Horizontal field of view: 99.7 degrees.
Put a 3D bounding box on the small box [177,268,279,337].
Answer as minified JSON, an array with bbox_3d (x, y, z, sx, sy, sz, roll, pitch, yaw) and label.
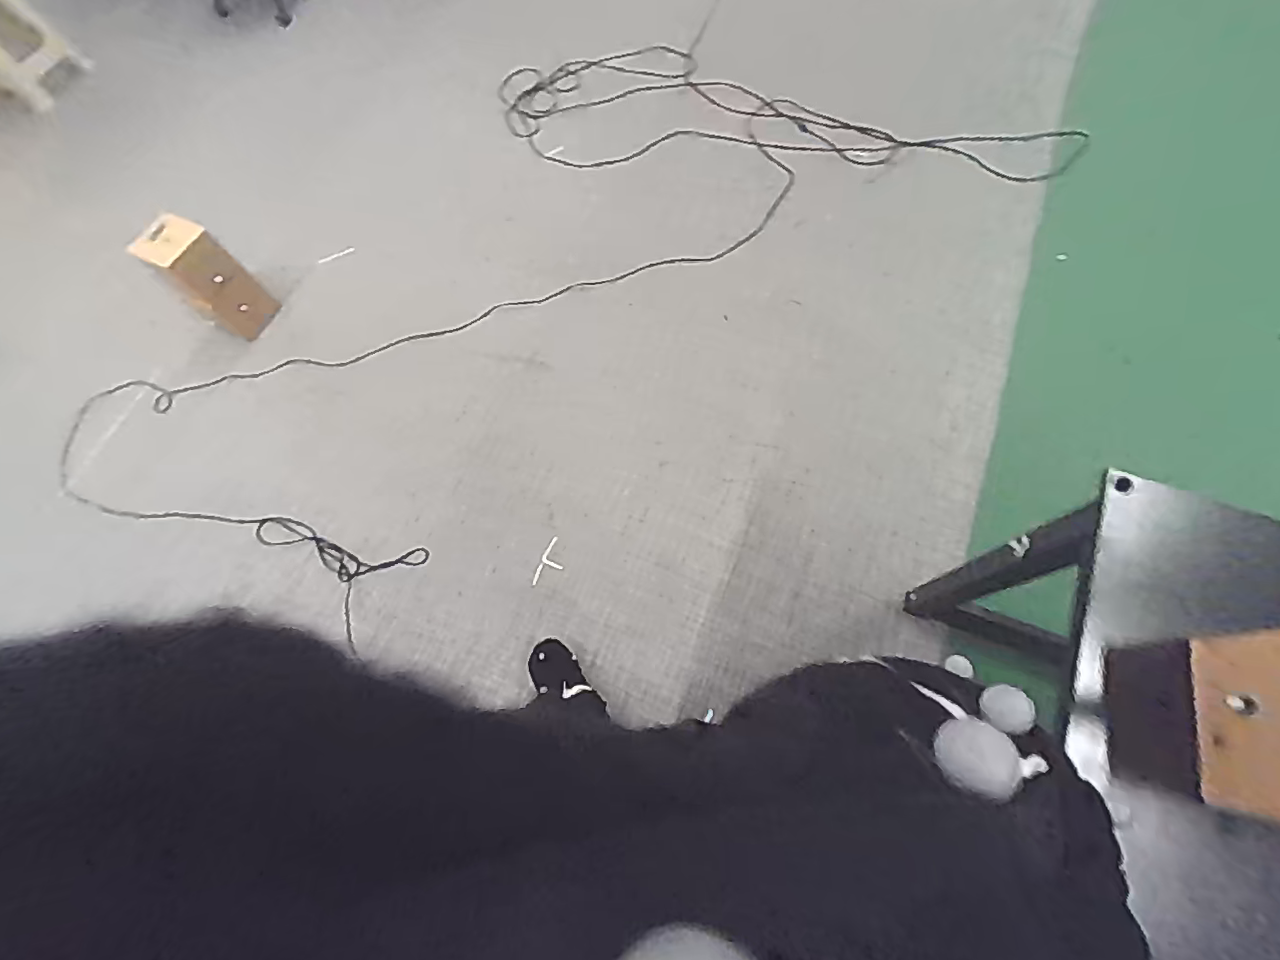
[{"bbox_3d":[-1.351,-0.604,1.788,0.168,0.176,0.179,23,72,13],"label":"small box"}]

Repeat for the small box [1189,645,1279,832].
[{"bbox_3d":[0.657,0.246,0.479,0.179,0.176,0.168,12,71,11],"label":"small box"}]

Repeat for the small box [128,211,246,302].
[{"bbox_3d":[-1.362,-0.671,1.637,0.179,0.176,0.168,24,72,13],"label":"small box"}]
